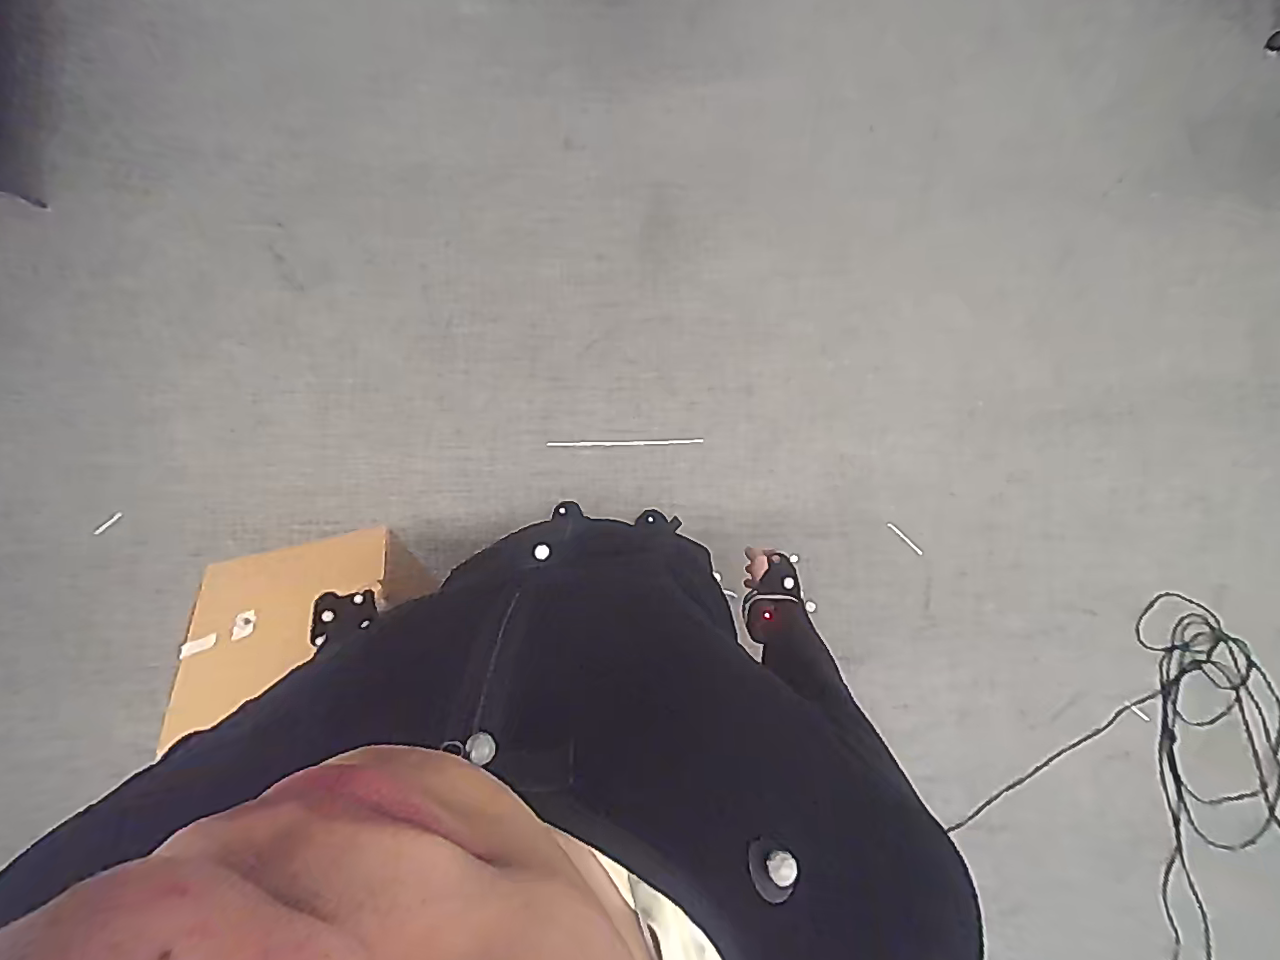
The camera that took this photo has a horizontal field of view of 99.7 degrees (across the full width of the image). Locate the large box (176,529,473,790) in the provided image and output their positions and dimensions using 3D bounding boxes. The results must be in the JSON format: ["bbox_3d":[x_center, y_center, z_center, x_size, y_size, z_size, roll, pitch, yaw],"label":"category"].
[{"bbox_3d":[-0.537,0.349,1.009,0.320,0.408,0.320,-14,54,-5],"label":"large box"}]

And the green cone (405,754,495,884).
[{"bbox_3d":[-0.535,0.919,1.439,0.200,0.368,0.202,5,90,-1],"label":"green cone"}]
